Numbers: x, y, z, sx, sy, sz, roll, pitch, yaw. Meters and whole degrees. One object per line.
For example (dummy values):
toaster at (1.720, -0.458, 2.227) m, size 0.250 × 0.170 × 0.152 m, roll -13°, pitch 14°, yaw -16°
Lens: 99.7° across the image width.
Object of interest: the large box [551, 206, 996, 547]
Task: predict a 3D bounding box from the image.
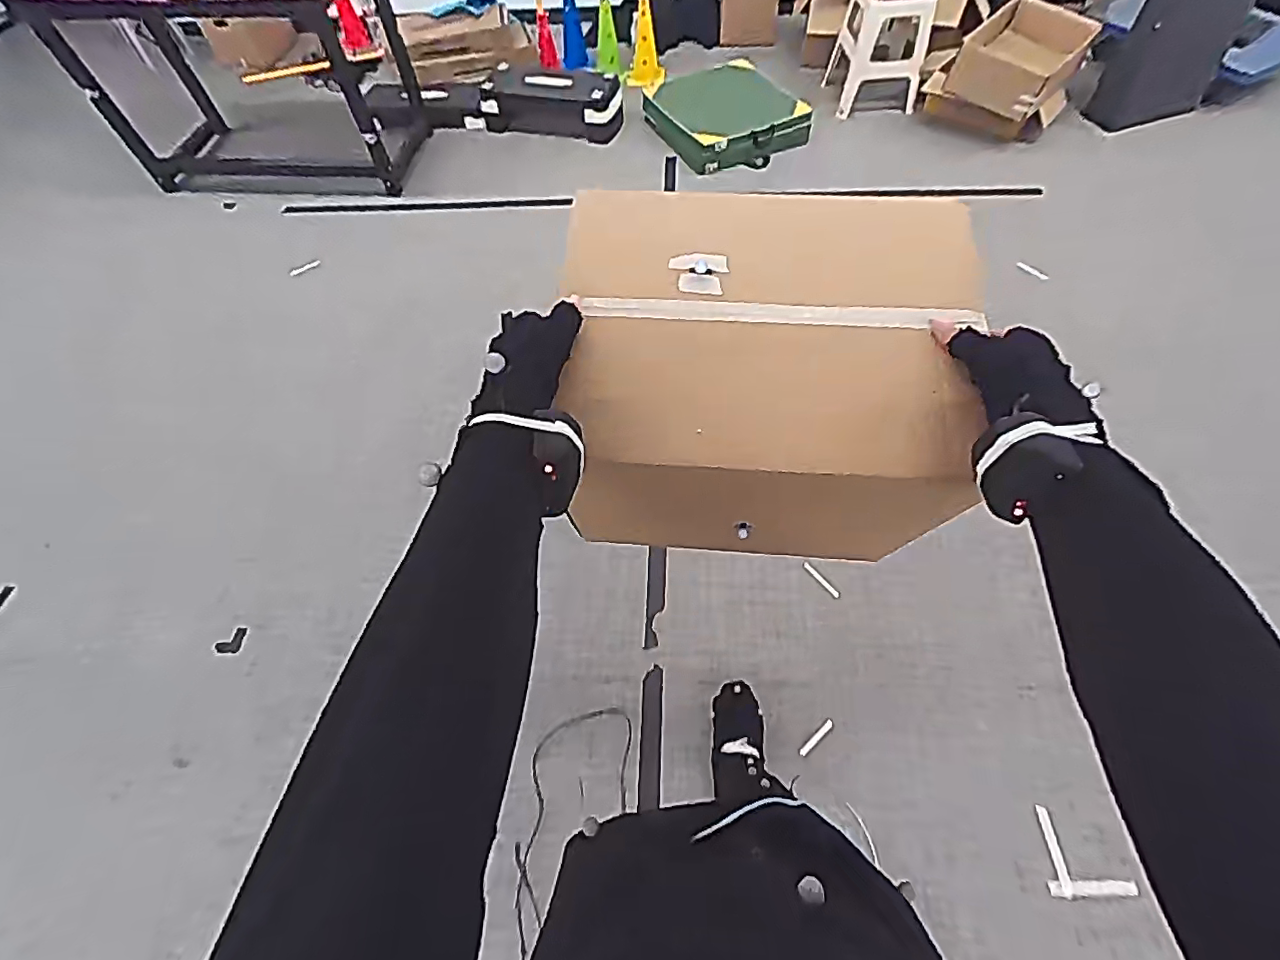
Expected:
large box at (0.133, -0.102, 0.673) m, size 0.408 × 0.320 × 0.320 m, roll 3°, pitch 69°, yaw 4°
